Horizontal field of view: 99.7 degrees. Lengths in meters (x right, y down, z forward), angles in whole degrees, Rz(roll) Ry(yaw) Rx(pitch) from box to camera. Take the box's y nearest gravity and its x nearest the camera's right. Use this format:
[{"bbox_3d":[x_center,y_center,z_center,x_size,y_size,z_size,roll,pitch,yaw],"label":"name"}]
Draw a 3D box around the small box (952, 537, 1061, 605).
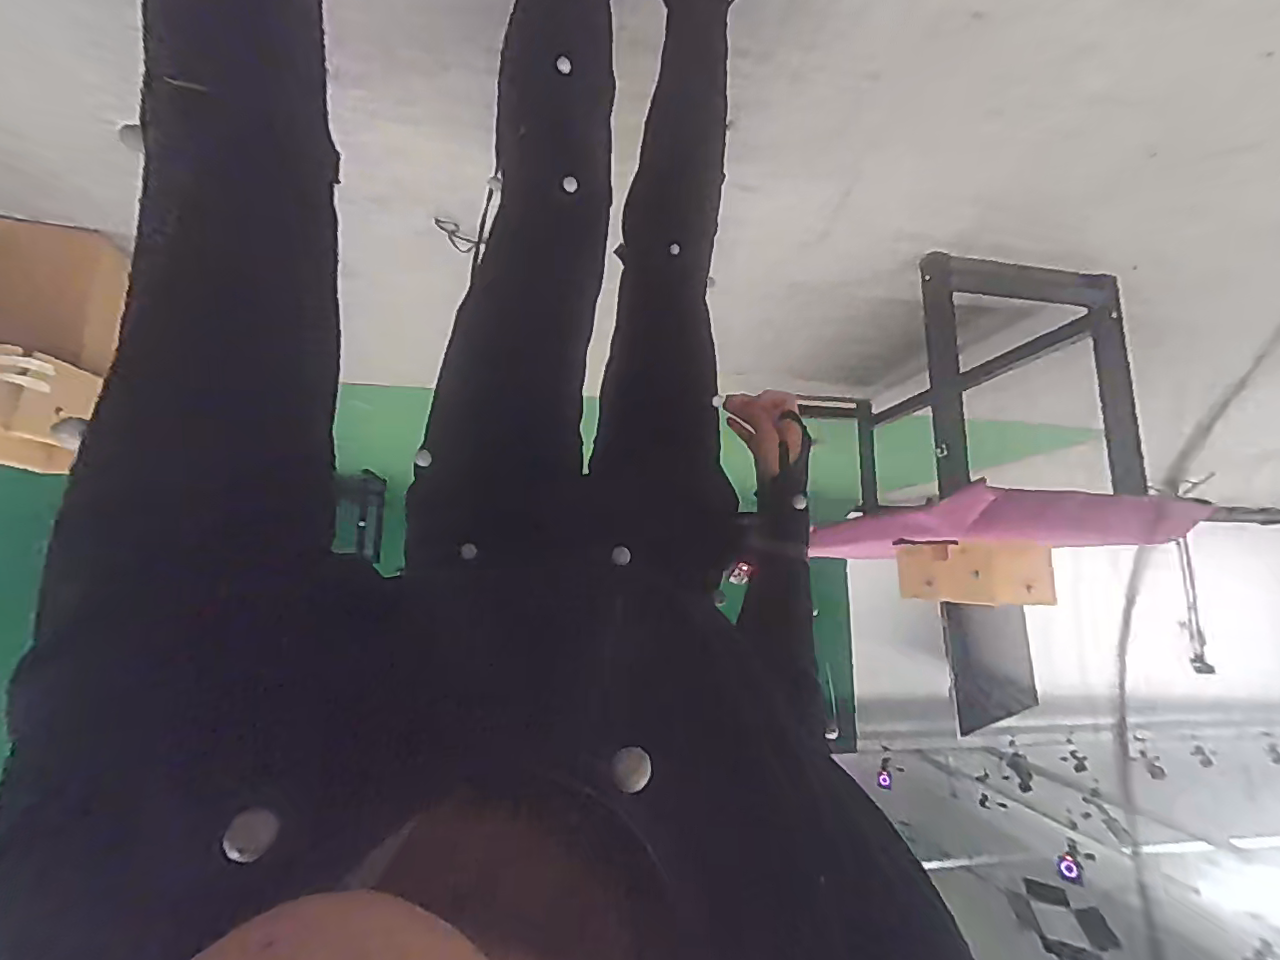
[{"bbox_3d":[0.968,0.245,1.443,0.179,0.176,0.168,2,169,-8],"label":"small box"}]
